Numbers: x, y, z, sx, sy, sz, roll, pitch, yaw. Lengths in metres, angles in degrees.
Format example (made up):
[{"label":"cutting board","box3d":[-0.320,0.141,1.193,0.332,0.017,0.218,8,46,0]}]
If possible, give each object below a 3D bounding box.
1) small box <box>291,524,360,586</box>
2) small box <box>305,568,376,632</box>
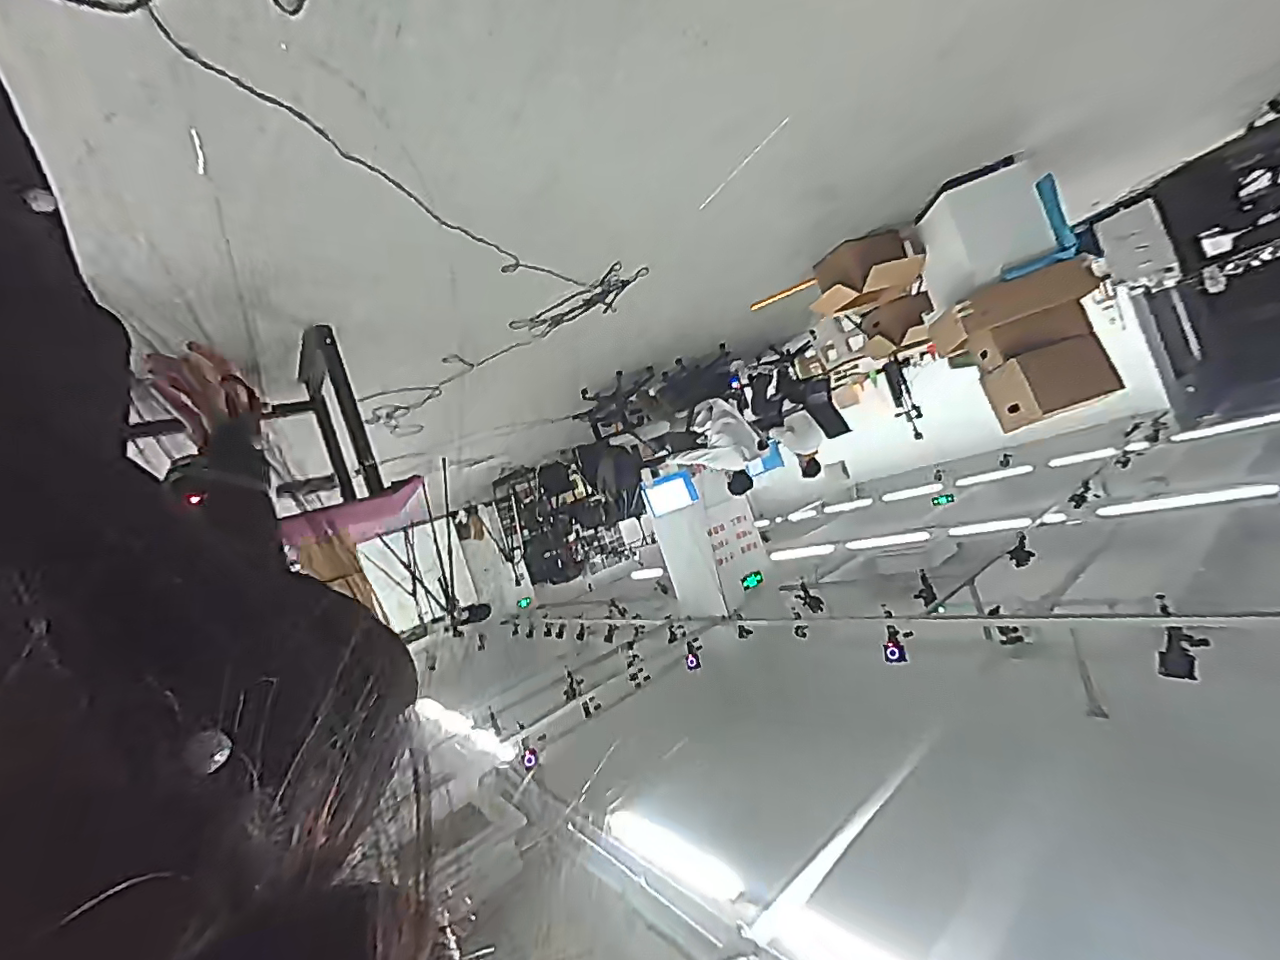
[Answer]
[{"label":"small box","box3d":[-1.105,0.262,1.894,0.168,0.176,0.179,-19,178,-36]},{"label":"small box","box3d":[-1.046,0.414,1.881,0.168,0.176,0.179,-18,178,-37]}]
